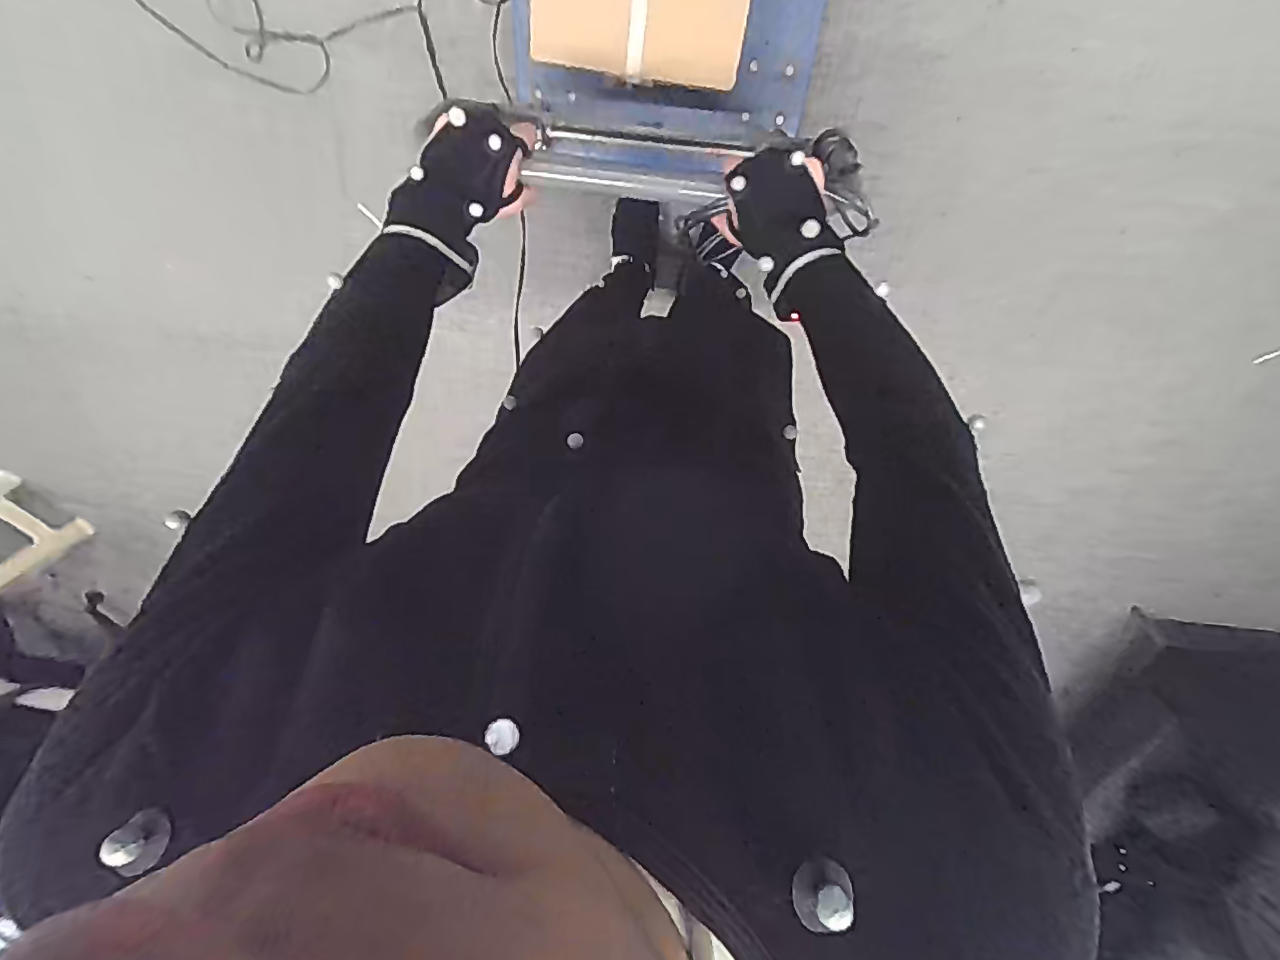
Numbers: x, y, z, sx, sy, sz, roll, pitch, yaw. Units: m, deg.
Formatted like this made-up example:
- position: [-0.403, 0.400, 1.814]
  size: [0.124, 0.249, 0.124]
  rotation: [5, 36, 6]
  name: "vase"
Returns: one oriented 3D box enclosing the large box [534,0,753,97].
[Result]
- position: [0.028, -0.853, 0.832]
  size: [0.320, 0.320, 0.408]
  rotation: [9, 125, -1]
  name: "large box"
